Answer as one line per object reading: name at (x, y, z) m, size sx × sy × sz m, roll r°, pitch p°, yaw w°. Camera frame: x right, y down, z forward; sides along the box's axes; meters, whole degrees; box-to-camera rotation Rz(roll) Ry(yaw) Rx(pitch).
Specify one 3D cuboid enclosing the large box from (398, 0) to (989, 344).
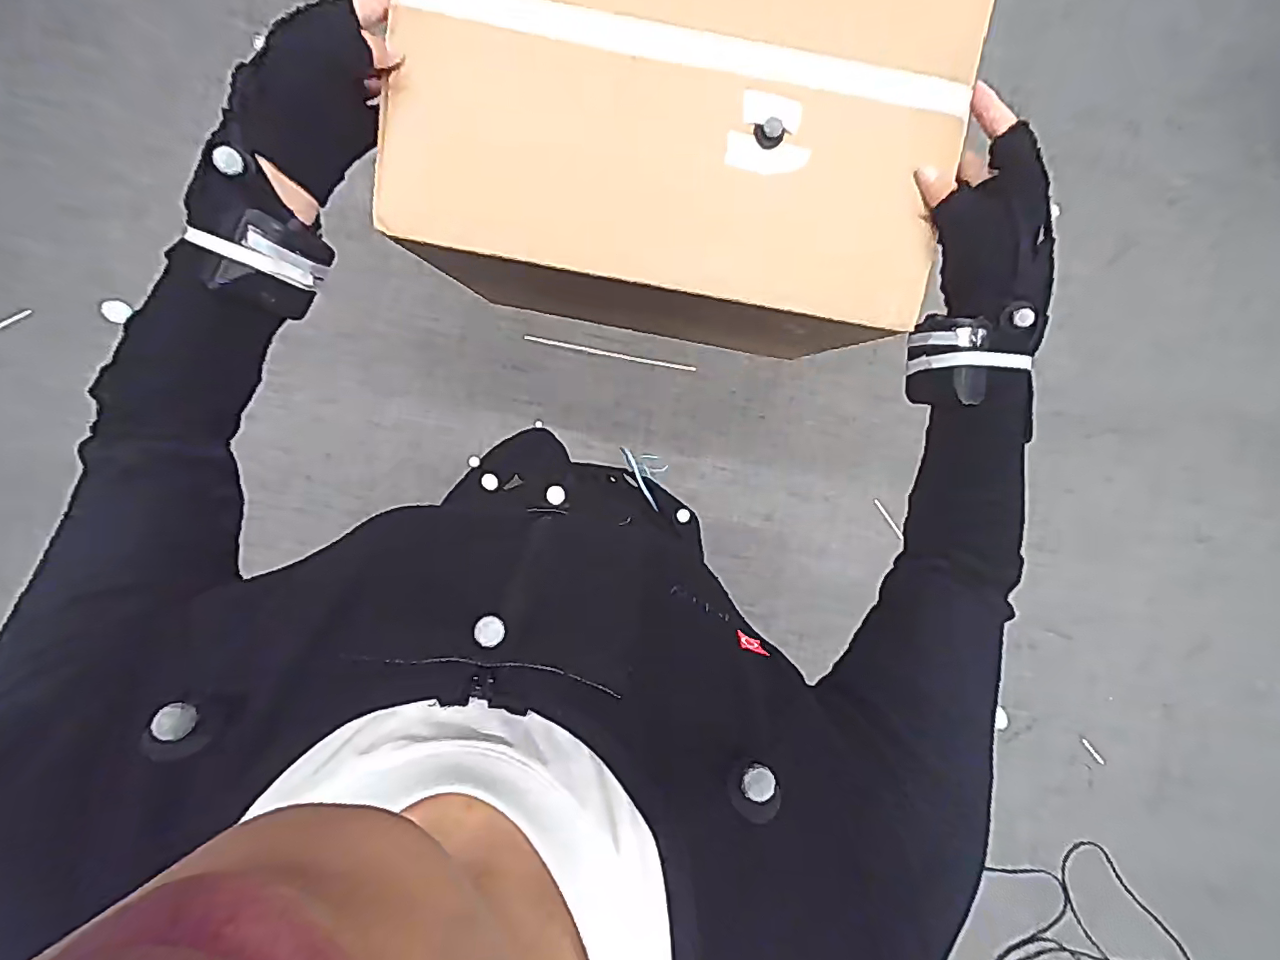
large box at (0.035, -0.332, 0.530) m, size 0.408 × 0.320 × 0.320 m, roll 10°, pitch 100°, yaw -2°
